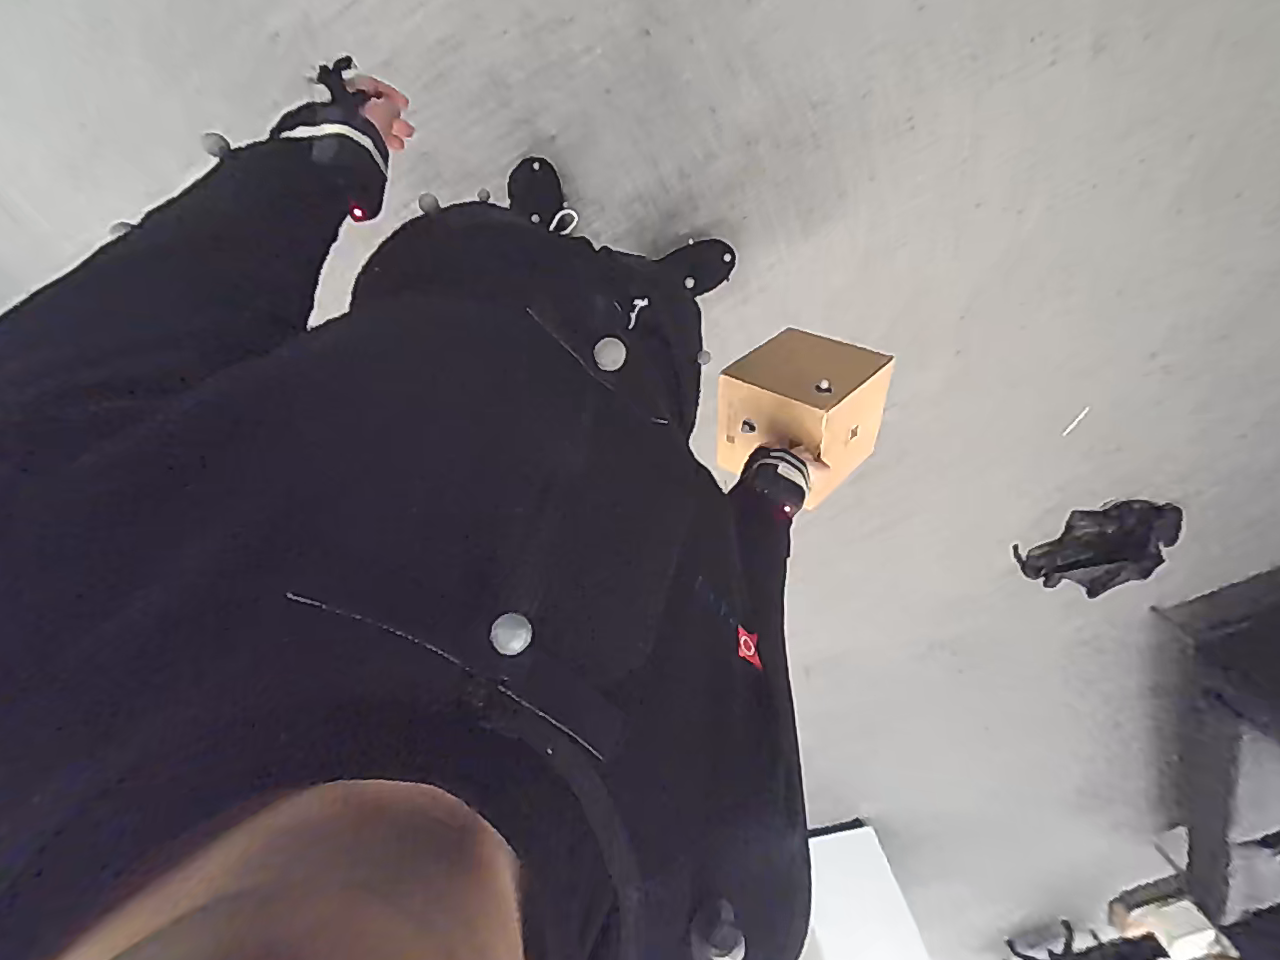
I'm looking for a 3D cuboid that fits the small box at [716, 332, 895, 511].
[{"bbox_3d":[0.229,-0.093,0.778,0.179,0.176,0.168,-35,138,-29],"label":"small box"}]
